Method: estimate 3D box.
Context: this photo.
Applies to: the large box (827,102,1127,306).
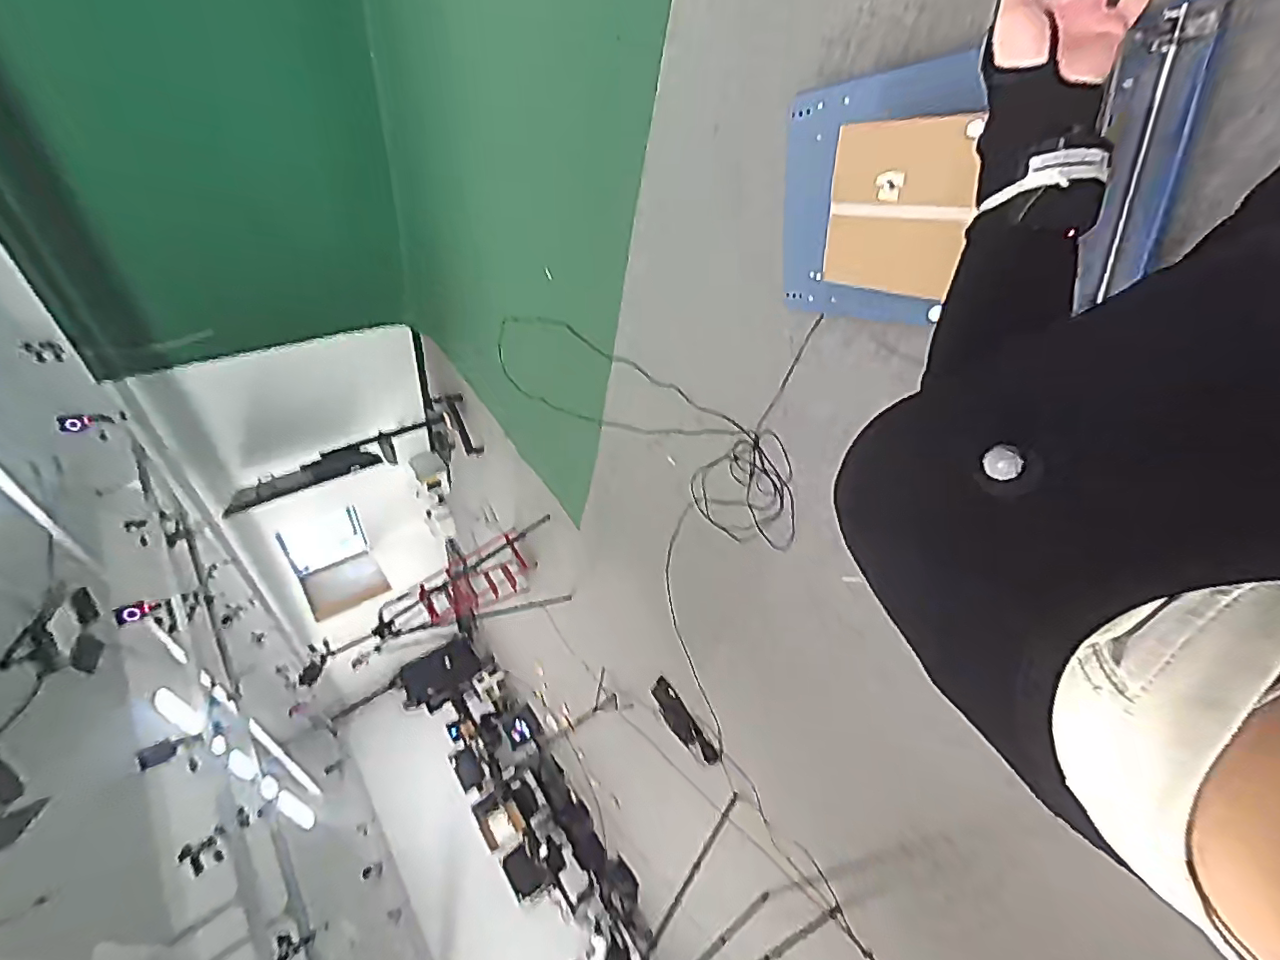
[{"bbox_3d":[0.664,-0.575,1.121,0.408,0.320,0.320,32,135,43],"label":"large box"}]
